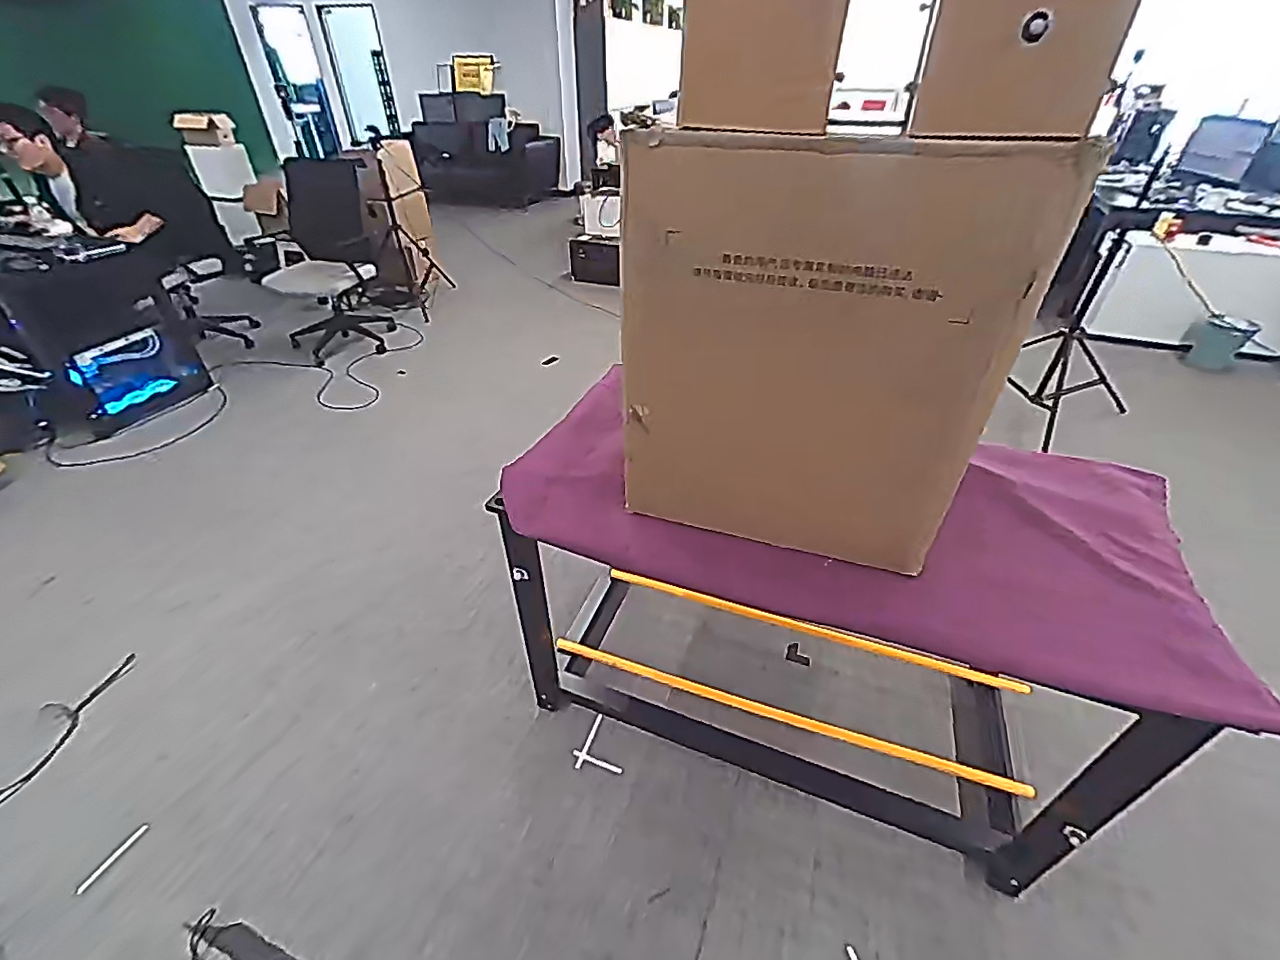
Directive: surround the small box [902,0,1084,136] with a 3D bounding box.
[{"bbox_3d":[0.466,-0.577,0.735,0.168,0.176,0.179,13,39,18],"label":"small box"}]
